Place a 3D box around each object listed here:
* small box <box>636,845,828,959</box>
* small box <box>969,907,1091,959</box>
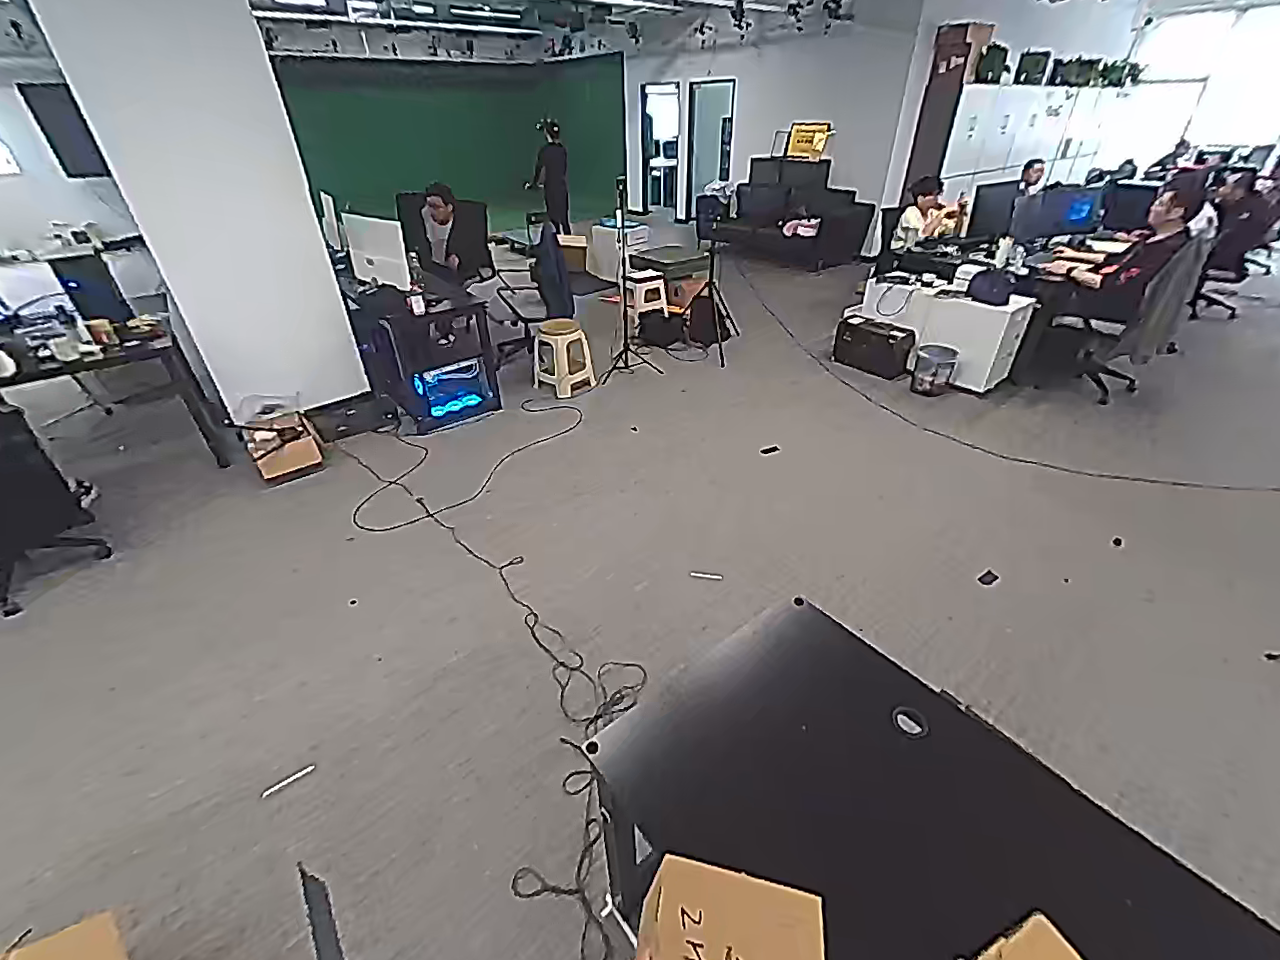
[{"bbox_3d":[0.087,0.529,0.573,0.179,0.176,0.168,12,37,5],"label":"small box"},{"bbox_3d":[0.433,0.628,0.587,0.168,0.176,0.179,-16,36,-20],"label":"small box"}]
